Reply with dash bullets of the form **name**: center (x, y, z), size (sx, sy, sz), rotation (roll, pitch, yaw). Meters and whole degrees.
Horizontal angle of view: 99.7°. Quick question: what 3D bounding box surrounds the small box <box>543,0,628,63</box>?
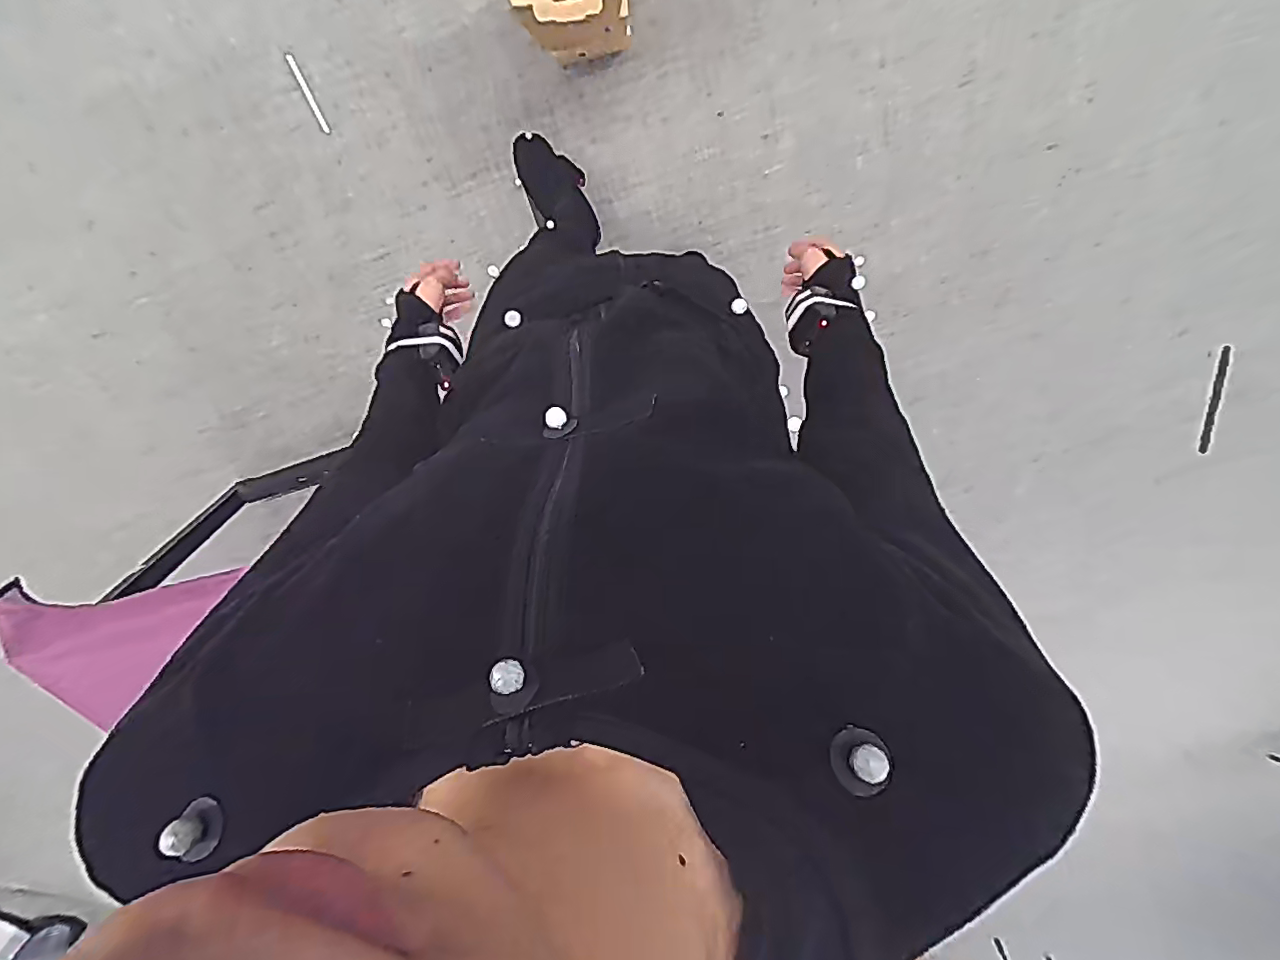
- **small box**: center (-0.121, -0.976, 1.098), size (0.168, 0.176, 0.179), rotation (-13, 120, 5)

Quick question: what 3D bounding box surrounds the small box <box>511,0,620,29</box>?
- **small box**: center (-0.121, -0.814, 0.810), size (0.168, 0.176, 0.179), rotation (-7, 121, 1)
